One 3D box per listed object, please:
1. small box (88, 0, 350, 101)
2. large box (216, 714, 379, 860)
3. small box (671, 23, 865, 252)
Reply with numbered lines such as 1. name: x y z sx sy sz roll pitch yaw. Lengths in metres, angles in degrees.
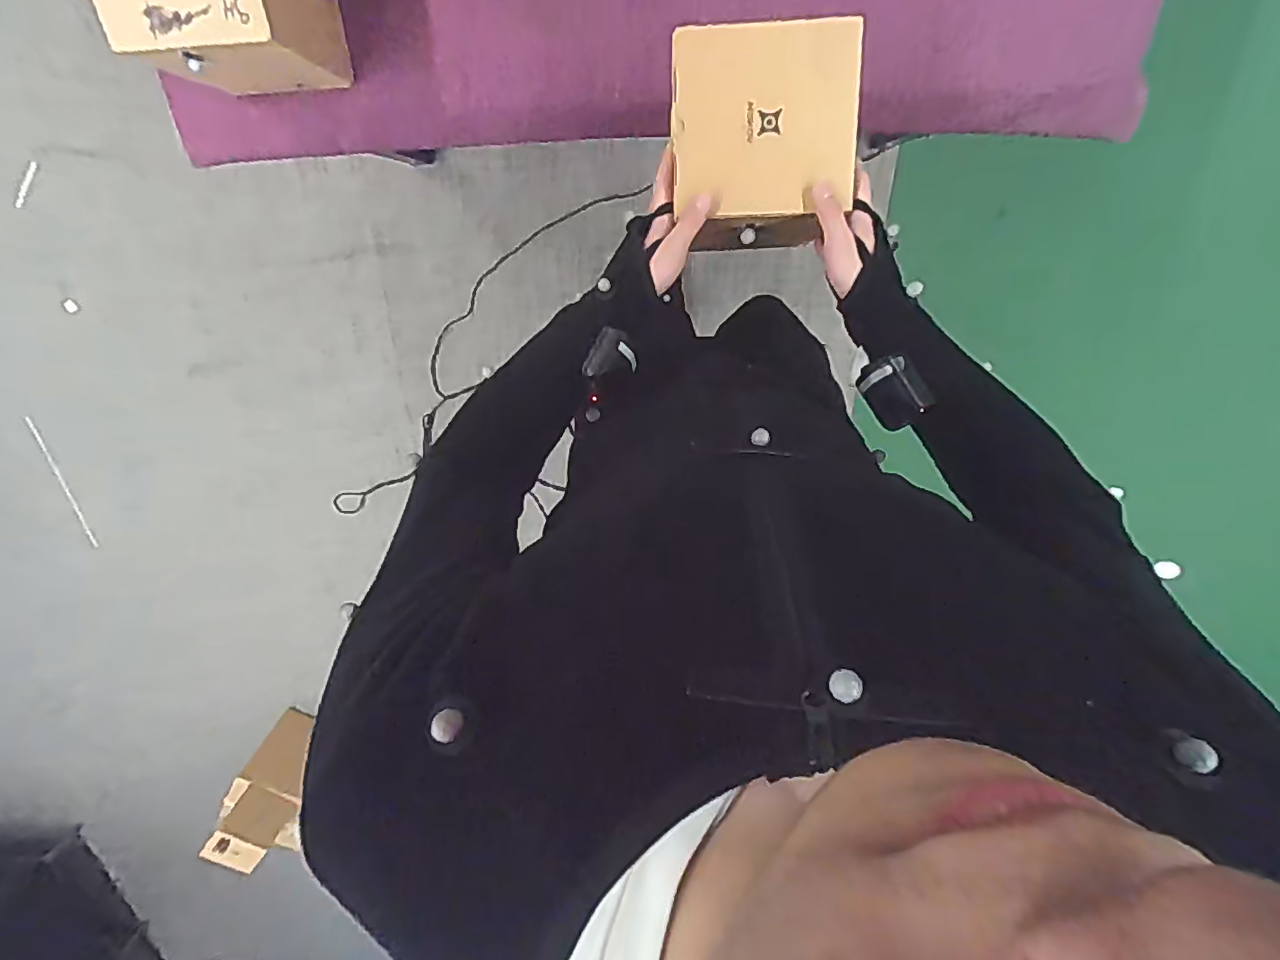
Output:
1. small box: -0.442 -0.527 0.569 0.168 0.176 0.179 -2 113 2
2. large box: -1.325 1.197 2.120 0.408 0.320 0.320 29 113 -13
3. small box: 0.123 -0.351 0.588 0.179 0.176 0.168 0 103 5
